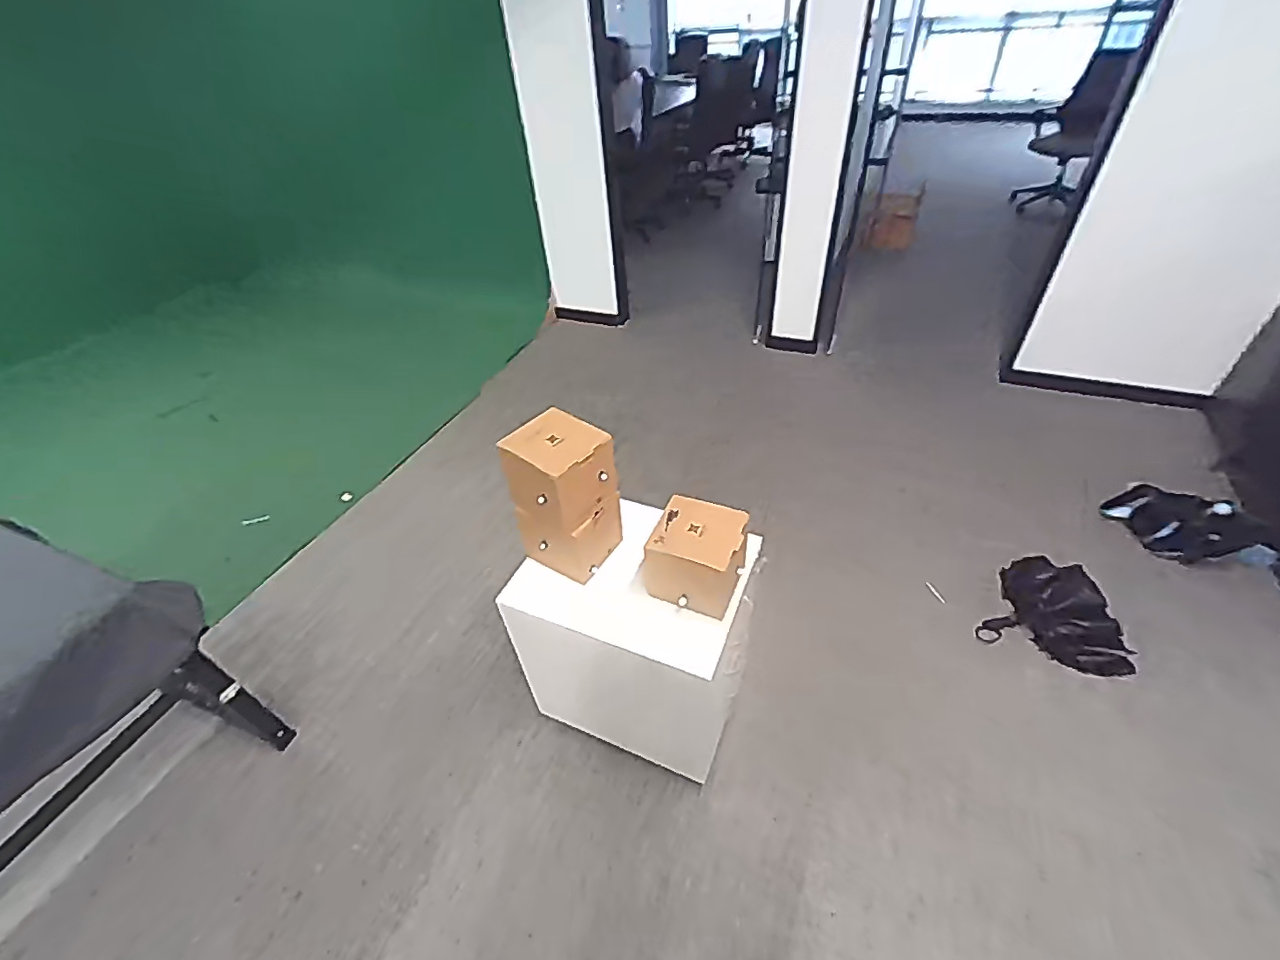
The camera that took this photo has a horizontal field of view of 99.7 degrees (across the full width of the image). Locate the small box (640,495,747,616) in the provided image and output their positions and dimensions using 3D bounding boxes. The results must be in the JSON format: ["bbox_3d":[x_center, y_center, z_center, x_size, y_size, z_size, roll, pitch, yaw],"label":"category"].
[{"bbox_3d":[0.114,0.164,1.155,0.179,0.176,0.168,16,45,19],"label":"small box"}]

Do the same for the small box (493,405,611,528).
[{"bbox_3d":[-0.175,-0.025,1.134,0.179,0.176,0.168,26,47,29],"label":"small box"}]

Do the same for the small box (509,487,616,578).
[{"bbox_3d":[-0.168,0.098,1.239,0.179,0.176,0.168,21,46,24],"label":"small box"}]
